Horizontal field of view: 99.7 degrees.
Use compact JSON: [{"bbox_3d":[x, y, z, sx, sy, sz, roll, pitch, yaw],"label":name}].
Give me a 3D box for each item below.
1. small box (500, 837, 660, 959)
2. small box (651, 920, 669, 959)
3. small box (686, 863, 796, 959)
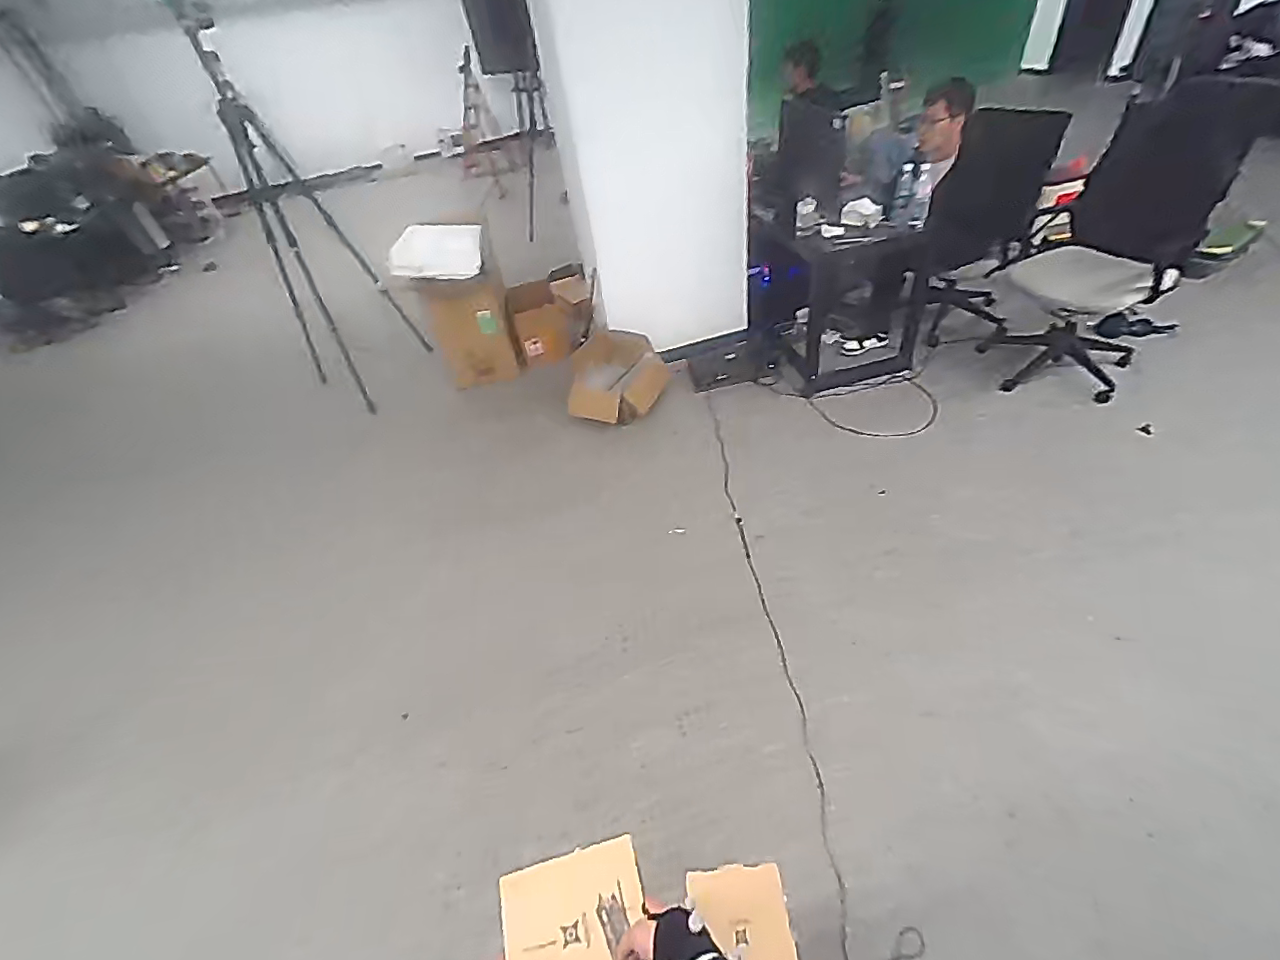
[{"bbox_3d":[-0.071,0.597,0.696,0.179,0.176,0.168,-13,43,-9],"label":"small box"},{"bbox_3d":[-0.021,1.083,1.157,0.168,0.176,0.179,-11,42,0],"label":"small box"},{"bbox_3d":[0.174,0.800,0.941,0.168,0.176,0.179,-9,41,3],"label":"small box"}]
